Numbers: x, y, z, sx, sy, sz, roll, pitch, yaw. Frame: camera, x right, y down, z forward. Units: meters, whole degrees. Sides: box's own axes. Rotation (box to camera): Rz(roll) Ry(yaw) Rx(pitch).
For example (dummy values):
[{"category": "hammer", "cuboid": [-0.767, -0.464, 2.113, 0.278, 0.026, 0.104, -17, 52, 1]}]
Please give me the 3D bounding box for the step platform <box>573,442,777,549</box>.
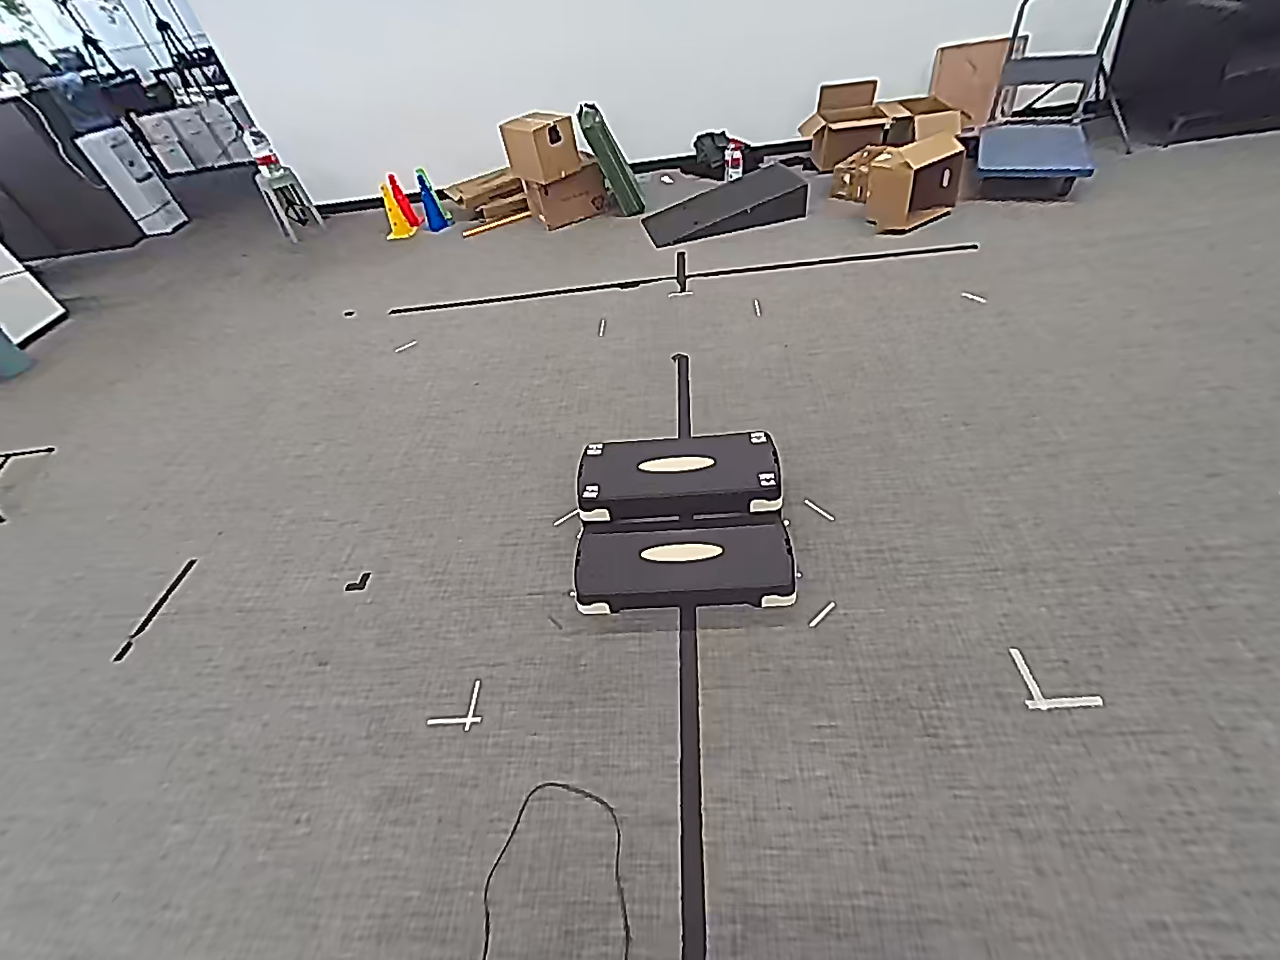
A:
[{"category": "step platform", "cuboid": [0.114, 0.049, 1.841, 0.684, 0.204, 0.286, -4, 46, 5]}]
